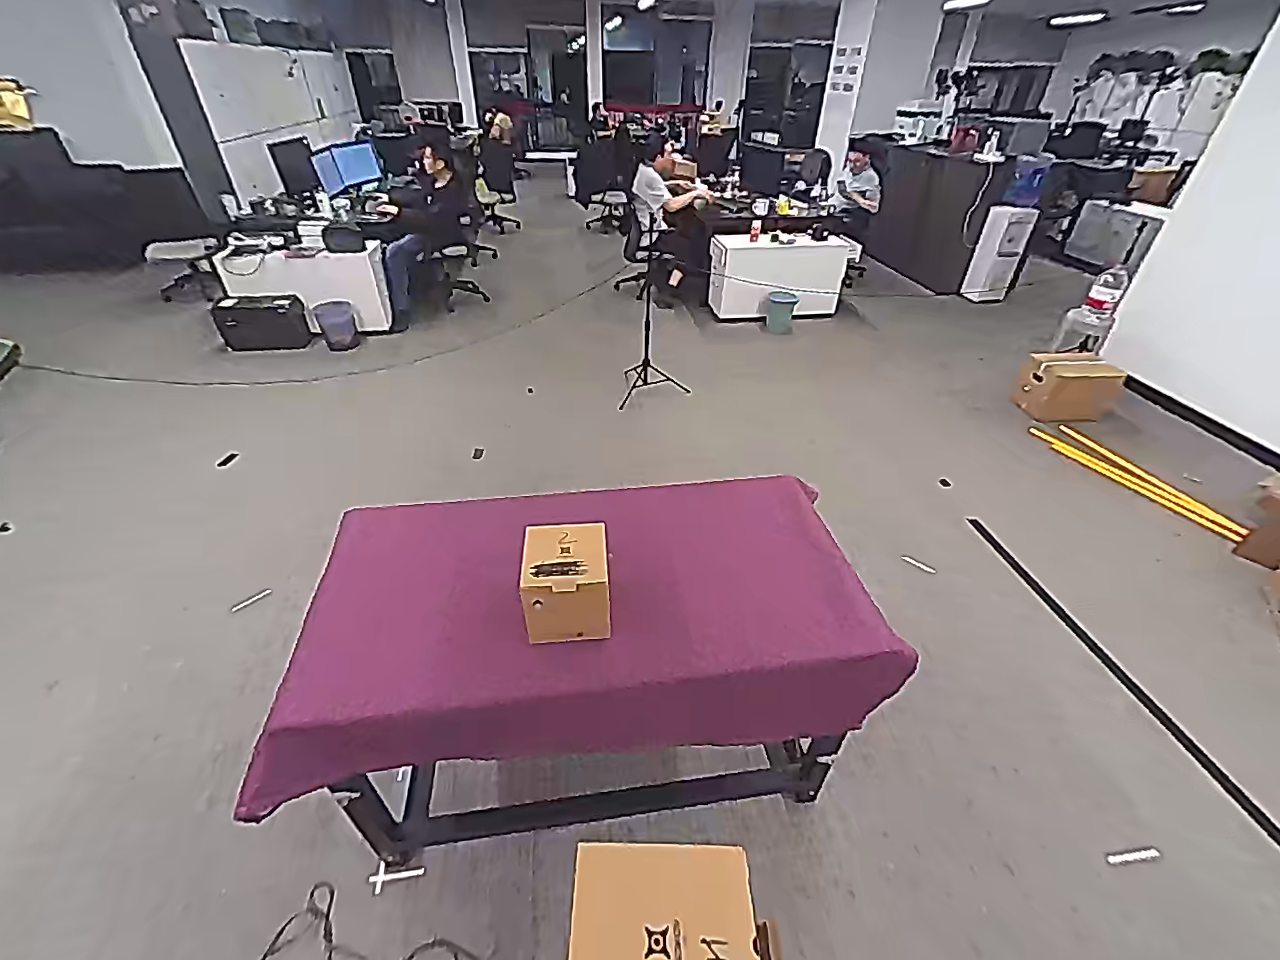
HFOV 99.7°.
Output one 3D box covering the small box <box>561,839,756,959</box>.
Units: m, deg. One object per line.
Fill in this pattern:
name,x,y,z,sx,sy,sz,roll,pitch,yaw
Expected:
small box,0.011,0.486,0.530,0.179,0.176,0.168,4,31,-3
